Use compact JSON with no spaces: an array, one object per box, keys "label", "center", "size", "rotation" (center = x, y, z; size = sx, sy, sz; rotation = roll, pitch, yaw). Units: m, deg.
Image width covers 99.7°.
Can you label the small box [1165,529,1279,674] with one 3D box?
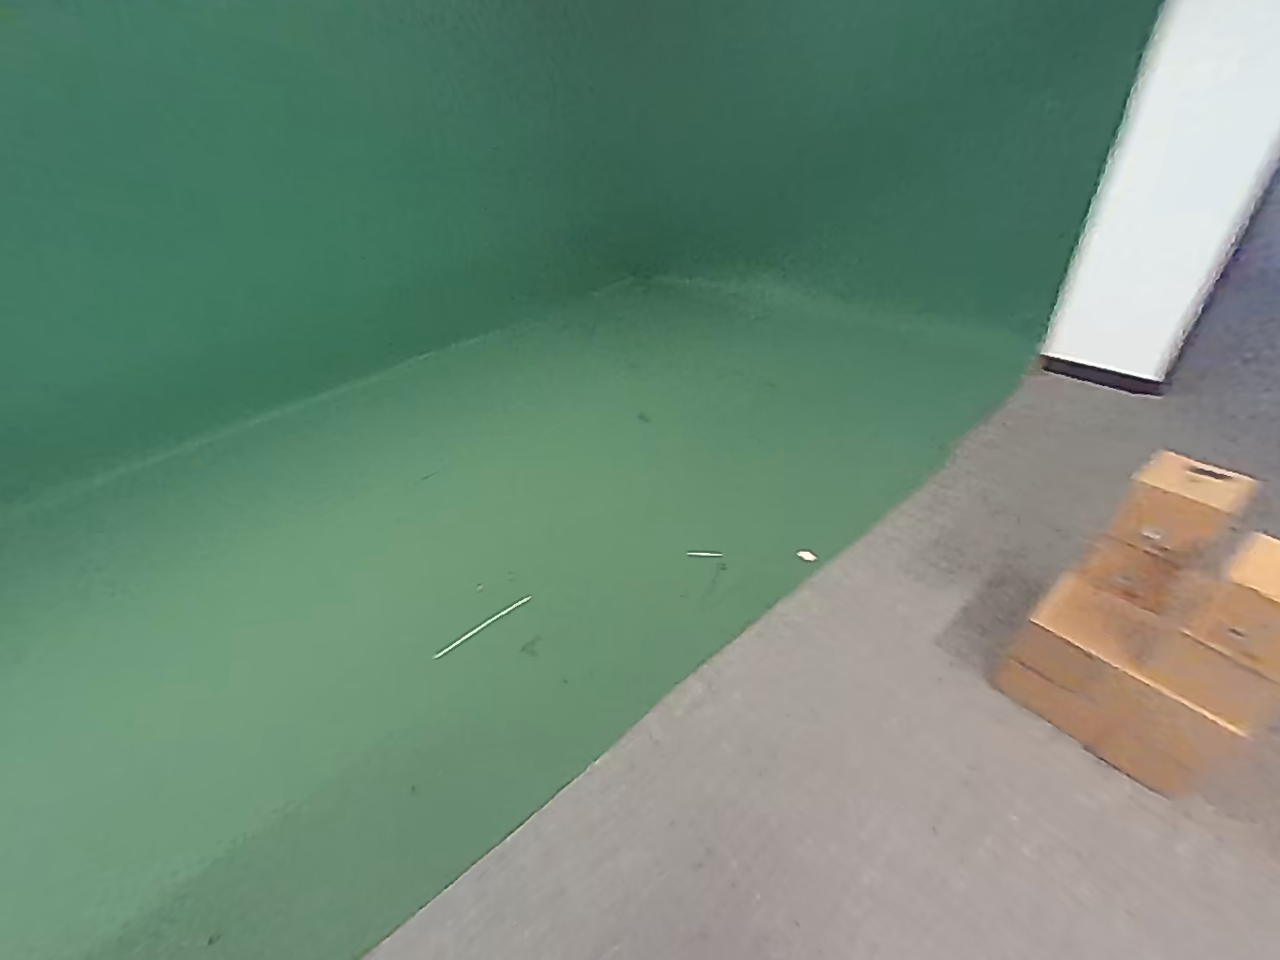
[{"label":"small box","center":[1.184,0.233,1.048],"size":[0.179,0.176,0.168],"rotation":[-27,43,-24]}]

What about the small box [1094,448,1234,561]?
[{"label":"small box","center":[1.221,0.056,1.272],"size":[0.179,0.176,0.168],"rotation":[-27,41,-26]}]

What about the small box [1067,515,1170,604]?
[{"label":"small box","center":[1.241,0.179,1.382],"size":[0.179,0.176,0.168],"rotation":[-28,41,-28]}]
